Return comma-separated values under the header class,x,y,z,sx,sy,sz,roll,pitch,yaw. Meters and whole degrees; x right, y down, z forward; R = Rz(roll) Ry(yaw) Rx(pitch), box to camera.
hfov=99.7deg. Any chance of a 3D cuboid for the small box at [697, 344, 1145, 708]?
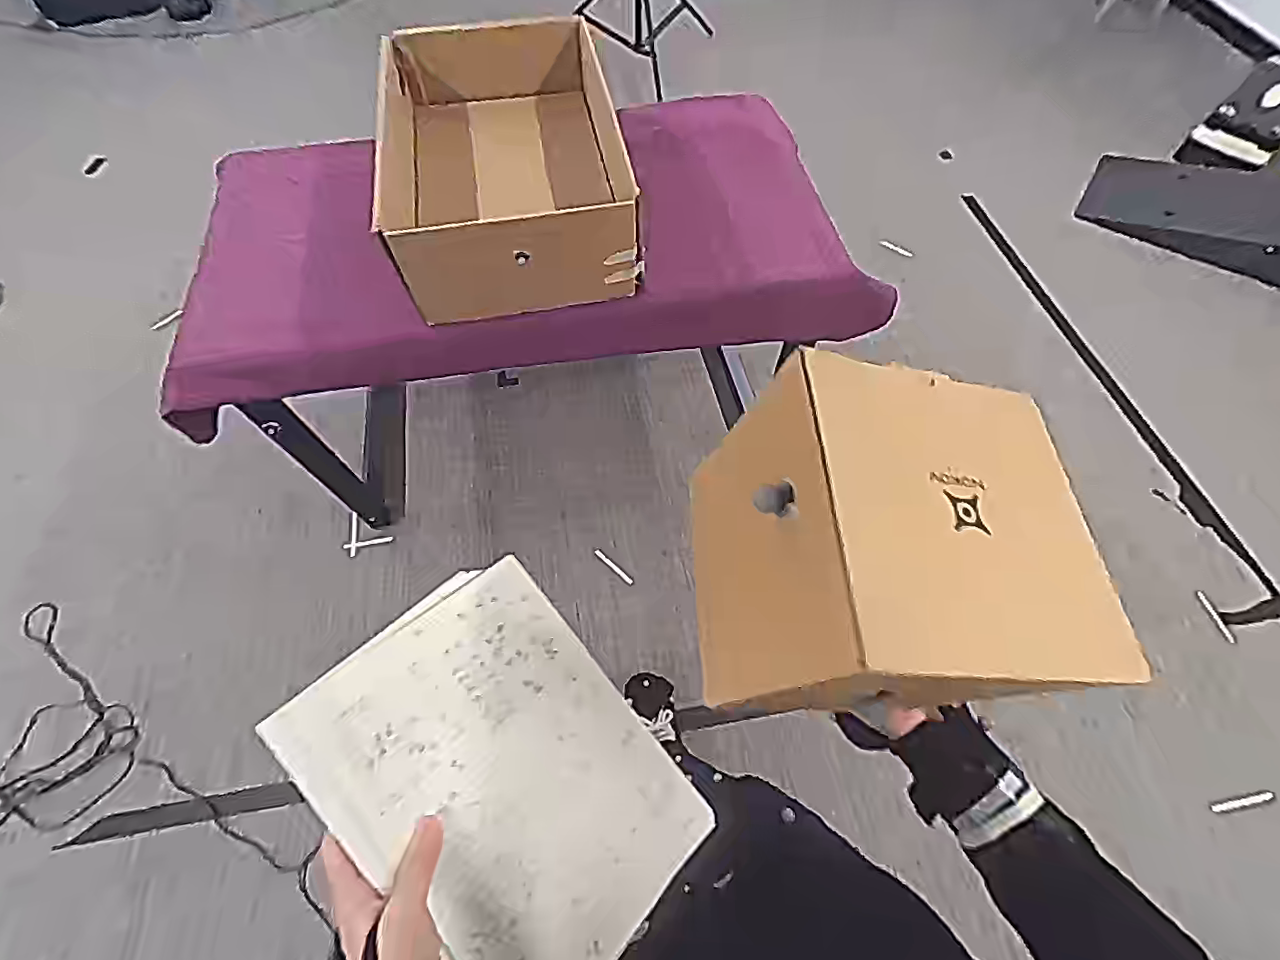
class,x,y,z,sx,sy,sz,roll,pitch,yaw
small box,0.143,0.046,0.348,0.168,0.176,0.179,8,61,-14
